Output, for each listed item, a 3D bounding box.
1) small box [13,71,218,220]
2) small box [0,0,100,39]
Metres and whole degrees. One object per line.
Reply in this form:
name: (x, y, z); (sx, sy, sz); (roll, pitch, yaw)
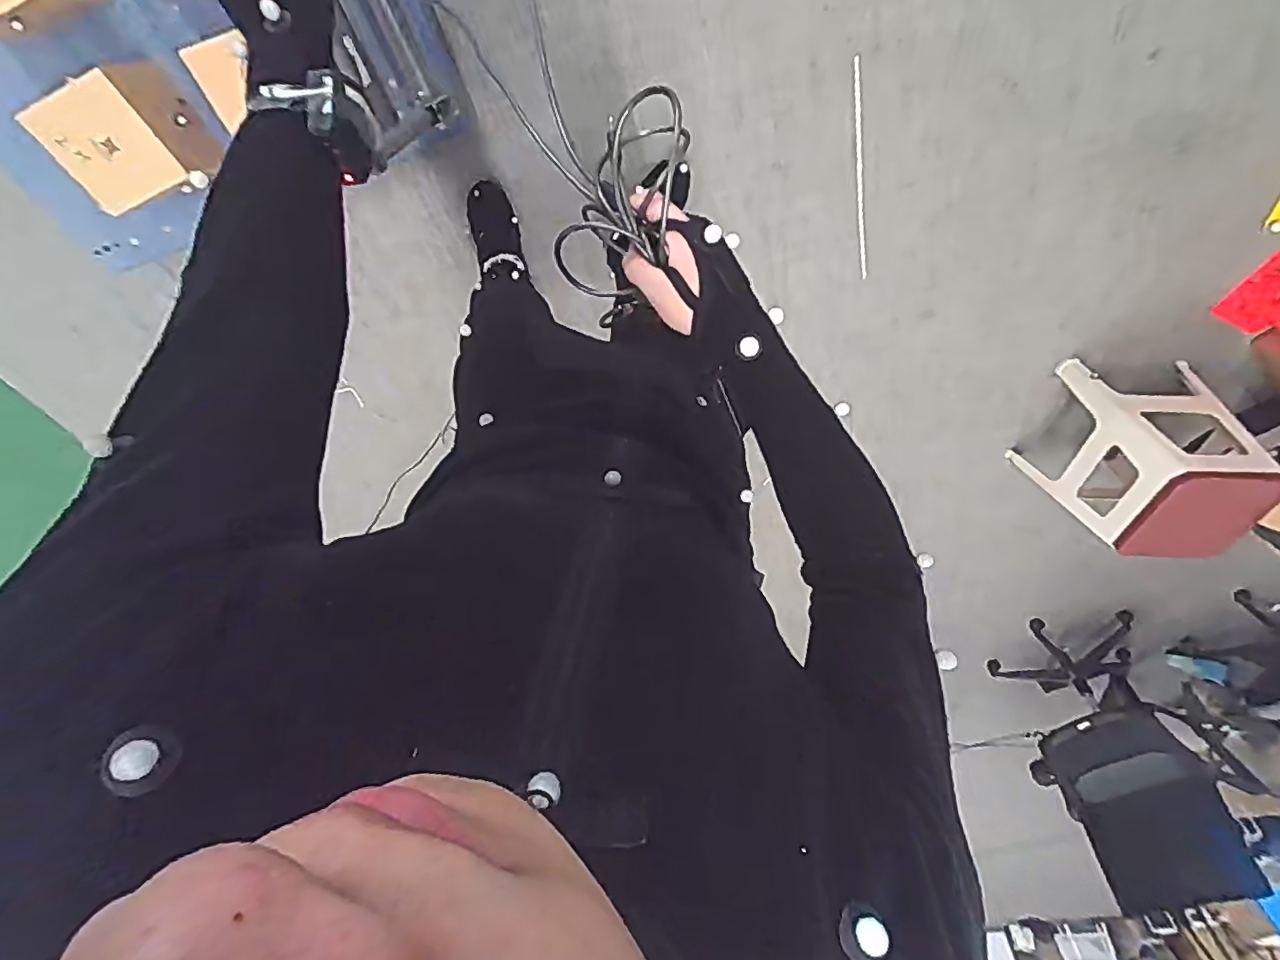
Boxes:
small box: (-0.905, -0.597, 0.961); (0.179, 0.176, 0.168); (-20, 129, 8)
small box: (-0.978, -0.779, 0.797); (0.179, 0.176, 0.168); (-19, 131, 6)
